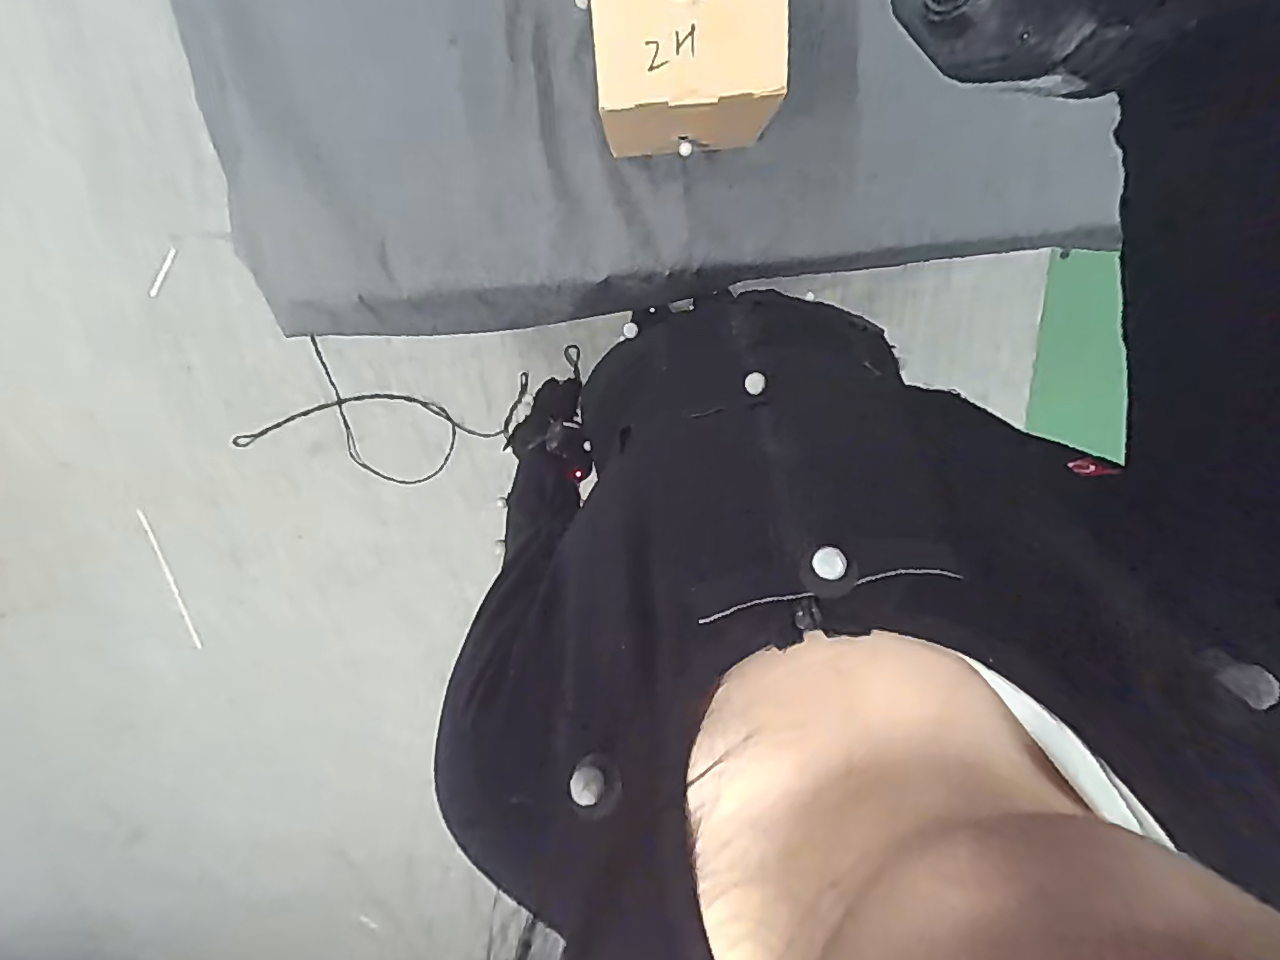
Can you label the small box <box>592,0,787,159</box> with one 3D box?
[{"bbox_3d":[0.041,-0.435,0.522,0.168,0.176,0.179,-3,109,3],"label":"small box"}]
